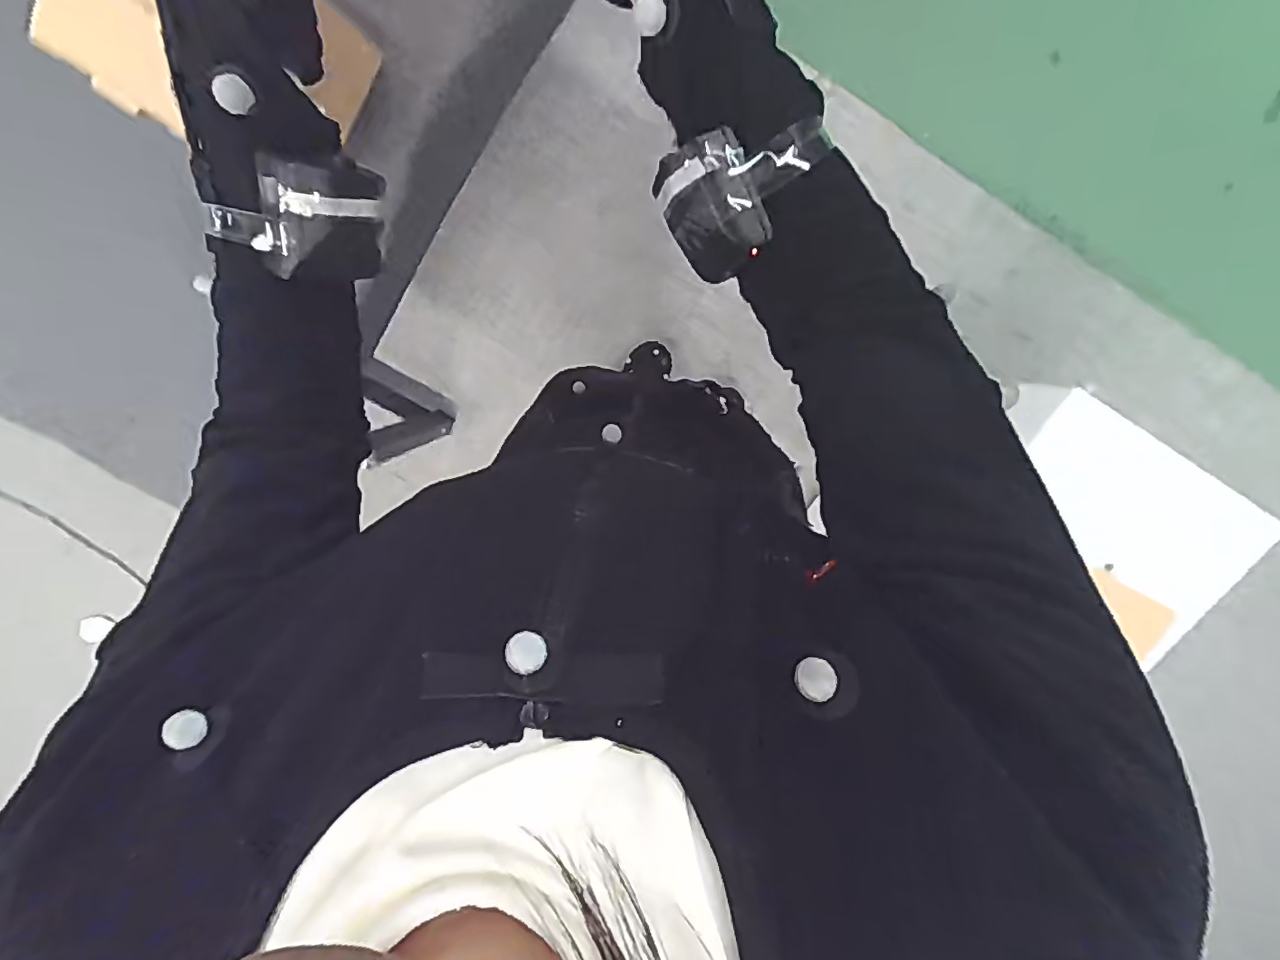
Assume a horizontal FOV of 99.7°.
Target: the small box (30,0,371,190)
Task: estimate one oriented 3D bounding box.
[{"bbox_3d":[-0.400,-0.419,0.522,0.168,0.176,0.179,33,104,-5],"label":"small box"}]
